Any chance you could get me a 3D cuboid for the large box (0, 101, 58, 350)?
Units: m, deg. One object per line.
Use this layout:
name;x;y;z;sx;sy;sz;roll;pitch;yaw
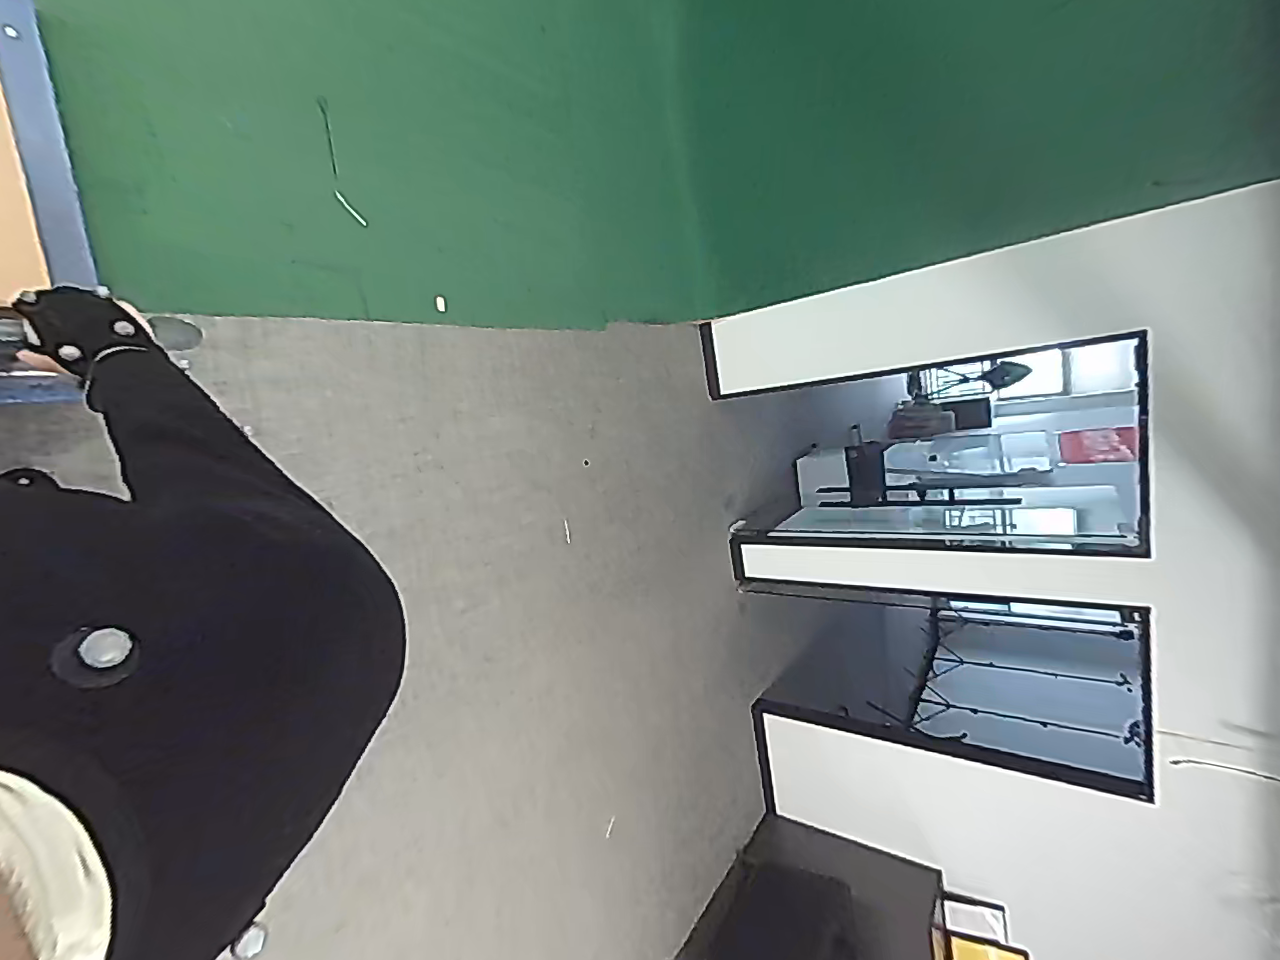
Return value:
large box;-1.141;-0.416;0.787;0.320;0.320;0.408;-17;100;-53
